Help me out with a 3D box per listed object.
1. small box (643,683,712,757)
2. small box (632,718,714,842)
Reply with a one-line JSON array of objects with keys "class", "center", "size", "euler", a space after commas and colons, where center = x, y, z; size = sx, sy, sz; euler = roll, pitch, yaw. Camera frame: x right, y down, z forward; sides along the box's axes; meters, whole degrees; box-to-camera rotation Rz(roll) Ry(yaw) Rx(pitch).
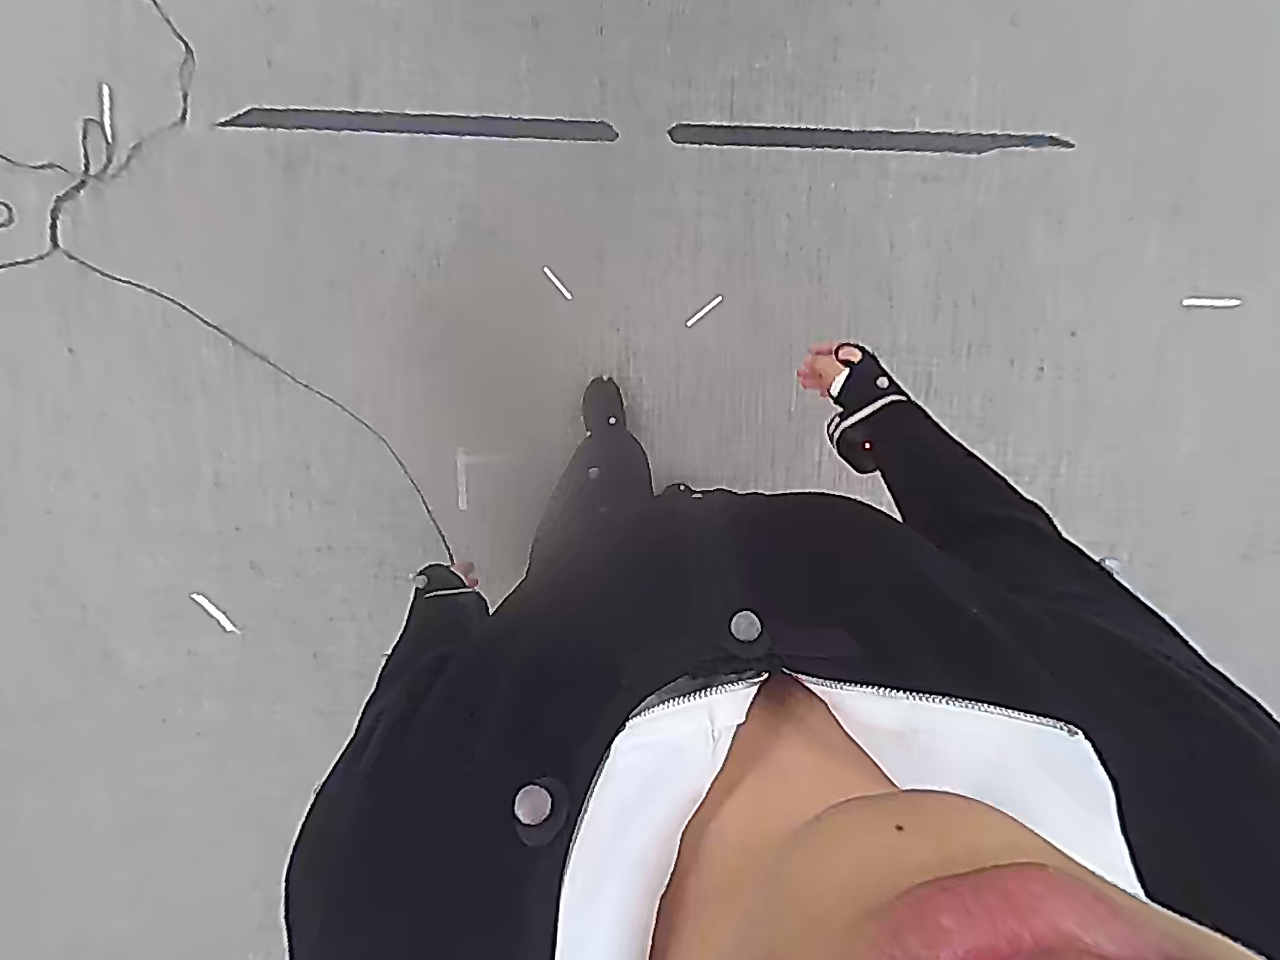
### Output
[{"class": "small box", "center": [0.090, 0.634, 1.360], "size": [0.168, 0.176, 0.179], "euler": [-1, 95, 0]}, {"class": "small box", "center": [0.070, 0.657, 1.196], "size": [0.168, 0.176, 0.179], "euler": [1, 96, 0]}]
